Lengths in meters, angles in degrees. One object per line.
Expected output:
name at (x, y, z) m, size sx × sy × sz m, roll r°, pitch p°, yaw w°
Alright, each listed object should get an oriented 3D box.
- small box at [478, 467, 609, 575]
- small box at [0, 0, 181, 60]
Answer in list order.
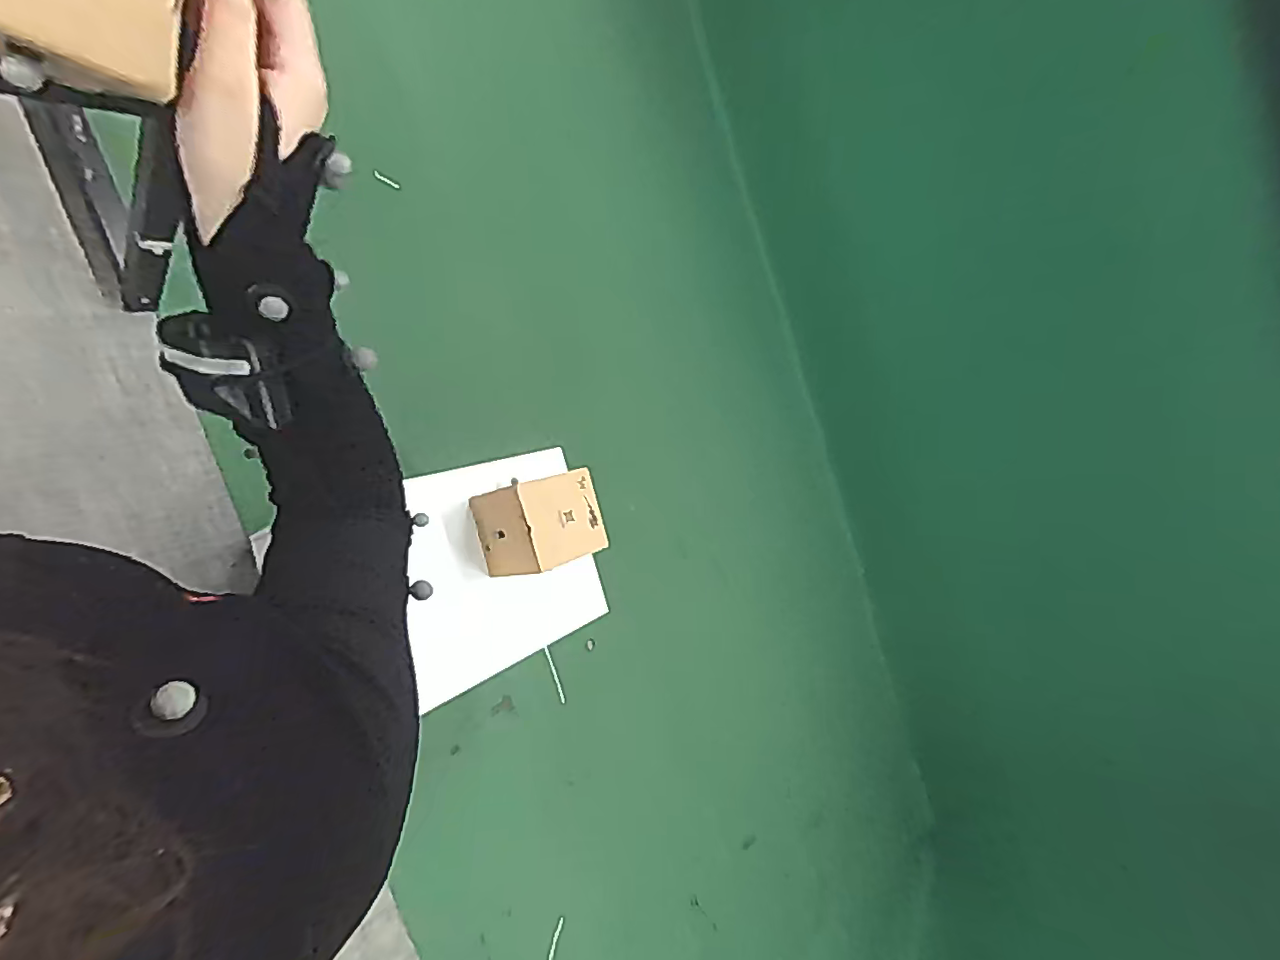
small box at (-0.195, 0.081, 1.050) m, size 0.179 × 0.176 × 0.168 m, roll -17°, pitch 93°, yaw -46°
small box at (-0.266, -0.264, 0.161) m, size 0.179 × 0.176 × 0.168 m, roll -4°, pitch 119°, yaw -55°
